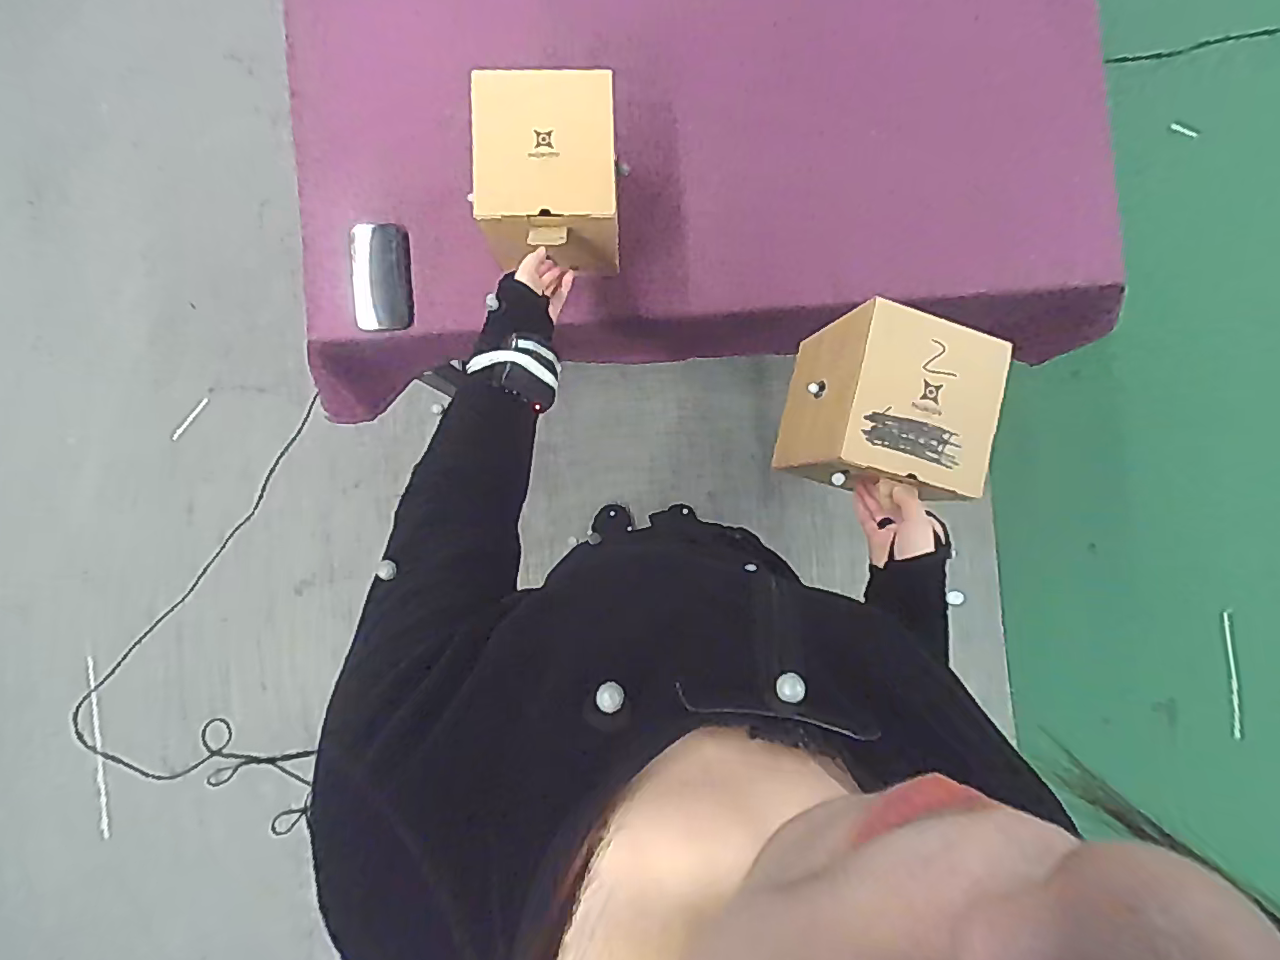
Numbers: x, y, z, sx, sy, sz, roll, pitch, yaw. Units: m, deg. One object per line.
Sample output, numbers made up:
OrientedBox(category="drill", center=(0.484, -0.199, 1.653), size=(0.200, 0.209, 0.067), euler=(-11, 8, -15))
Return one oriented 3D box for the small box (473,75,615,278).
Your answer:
OrientedBox(category="small box", center=(-0.118, -0.387, 0.714), size=(0.168, 0.176, 0.179), euler=(-1, 88, -2))
